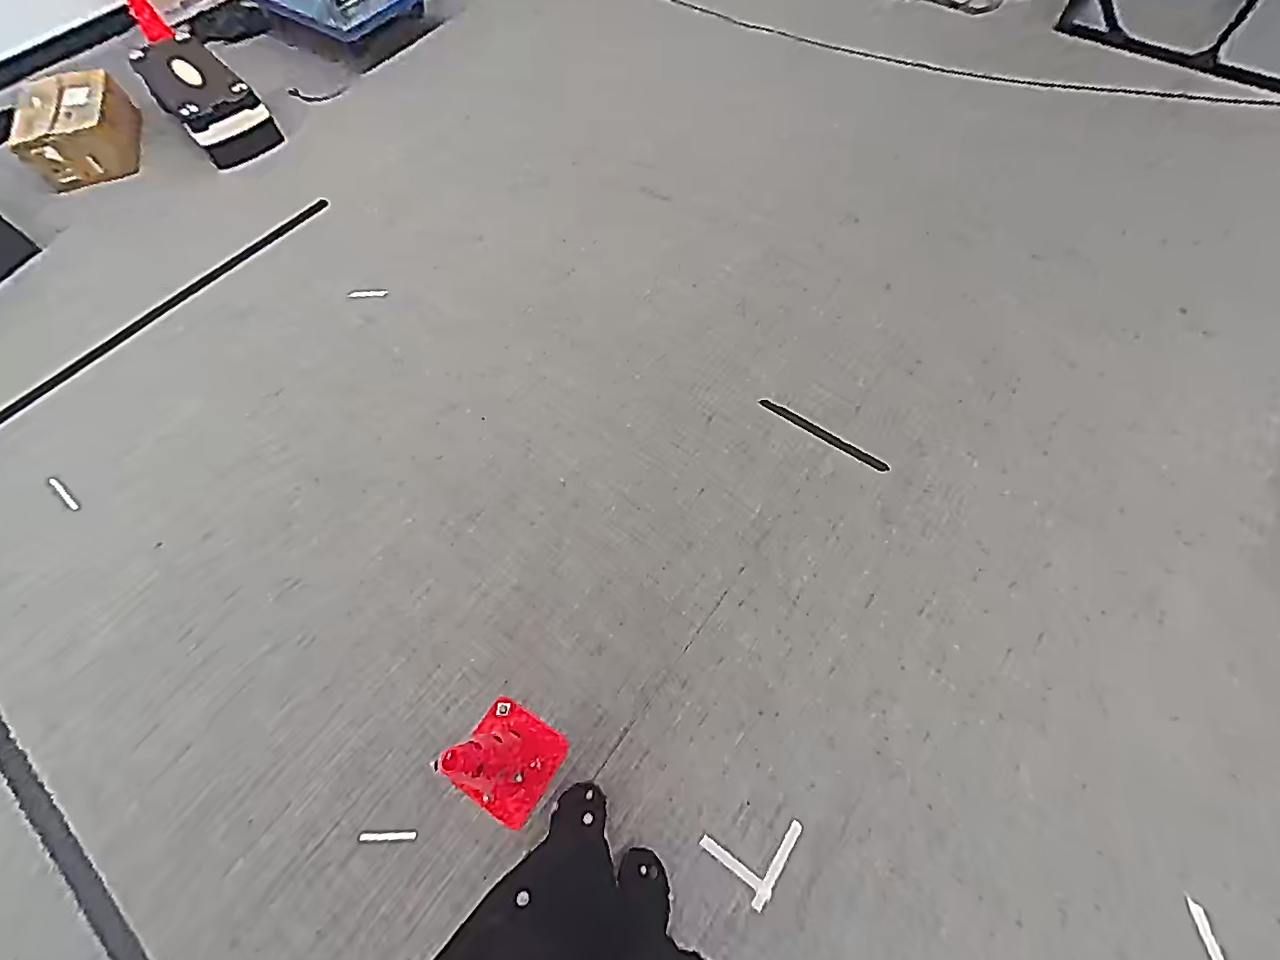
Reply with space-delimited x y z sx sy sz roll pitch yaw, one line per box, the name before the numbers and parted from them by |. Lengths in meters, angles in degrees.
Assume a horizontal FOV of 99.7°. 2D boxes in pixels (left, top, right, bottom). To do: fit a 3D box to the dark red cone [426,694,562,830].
dark red cone | -0.295 0.511 0.985 0.202 0.394 0.201 27 68 15
